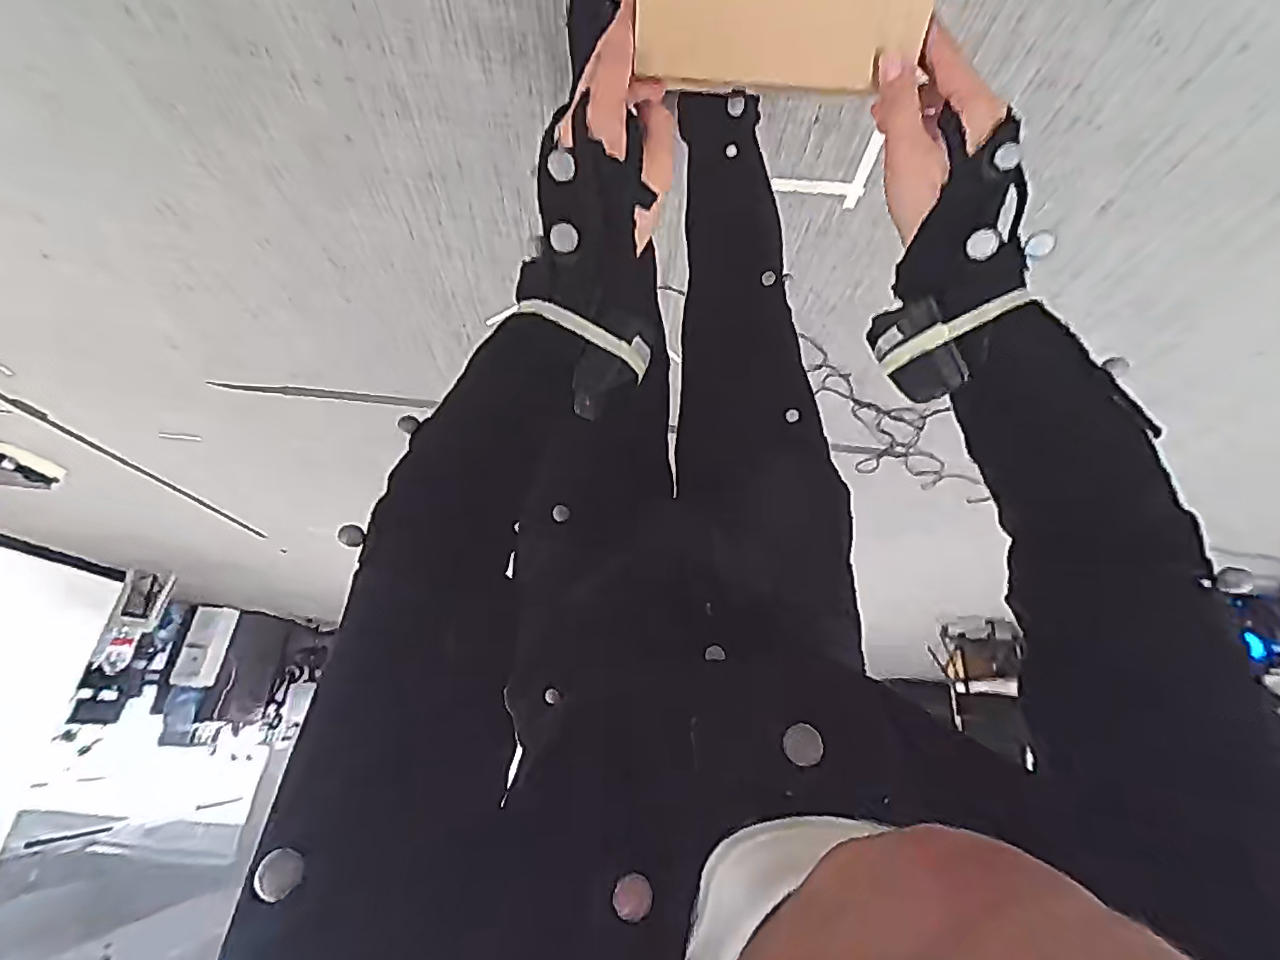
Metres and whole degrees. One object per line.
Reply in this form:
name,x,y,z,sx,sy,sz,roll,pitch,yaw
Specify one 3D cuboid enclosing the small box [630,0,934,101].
small box,0.081,-0.345,0.332,0.168,0.176,0.179,2,124,-4
